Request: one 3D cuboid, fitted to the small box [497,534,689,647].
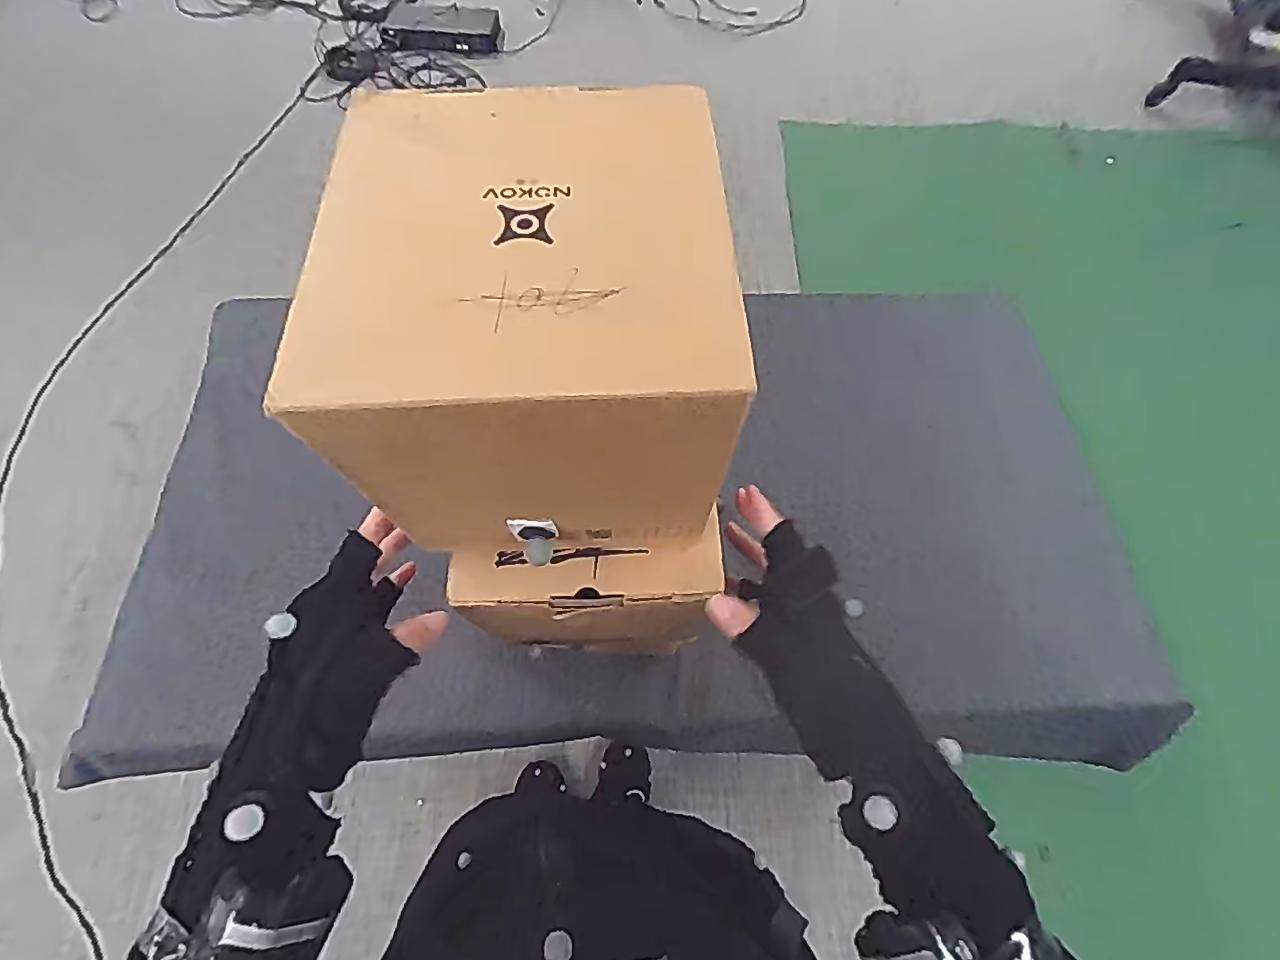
[{"bbox_3d":[-0.043,0.085,0.591,0.179,0.176,0.168,1,63,-1],"label":"small box"}]

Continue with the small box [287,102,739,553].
[{"bbox_3d":[-0.050,-0.070,0.301,0.168,0.176,0.179,-4,65,-1],"label":"small box"}]
